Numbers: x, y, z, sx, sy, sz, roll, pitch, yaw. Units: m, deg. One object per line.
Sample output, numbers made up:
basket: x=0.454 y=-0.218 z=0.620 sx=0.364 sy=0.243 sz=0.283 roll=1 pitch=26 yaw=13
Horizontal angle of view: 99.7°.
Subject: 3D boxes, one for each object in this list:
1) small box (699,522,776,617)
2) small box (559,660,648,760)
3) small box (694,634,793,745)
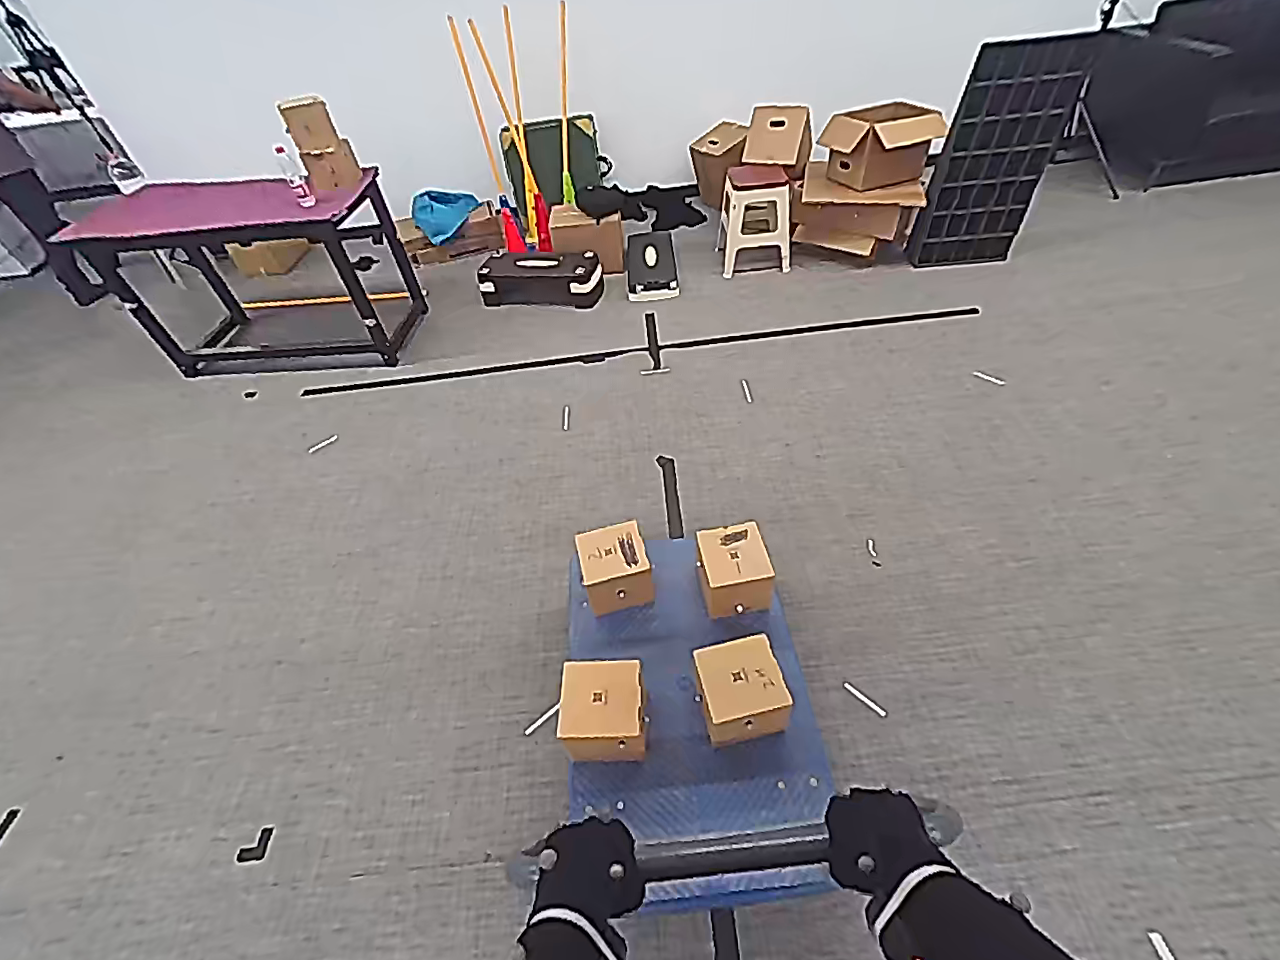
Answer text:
small box: x=0.252 y=0.240 z=1.440 sx=0.168 sy=0.176 sz=0.179 roll=-10 pitch=49 yaw=-1
small box: x=-0.076 y=0.524 z=1.227 sx=0.179 sy=0.176 sz=0.168 roll=-3 pitch=47 yaw=3
small box: x=0.229 y=0.478 z=1.226 sx=0.179 sy=0.176 sz=0.168 roll=-12 pitch=48 yaw=-3
